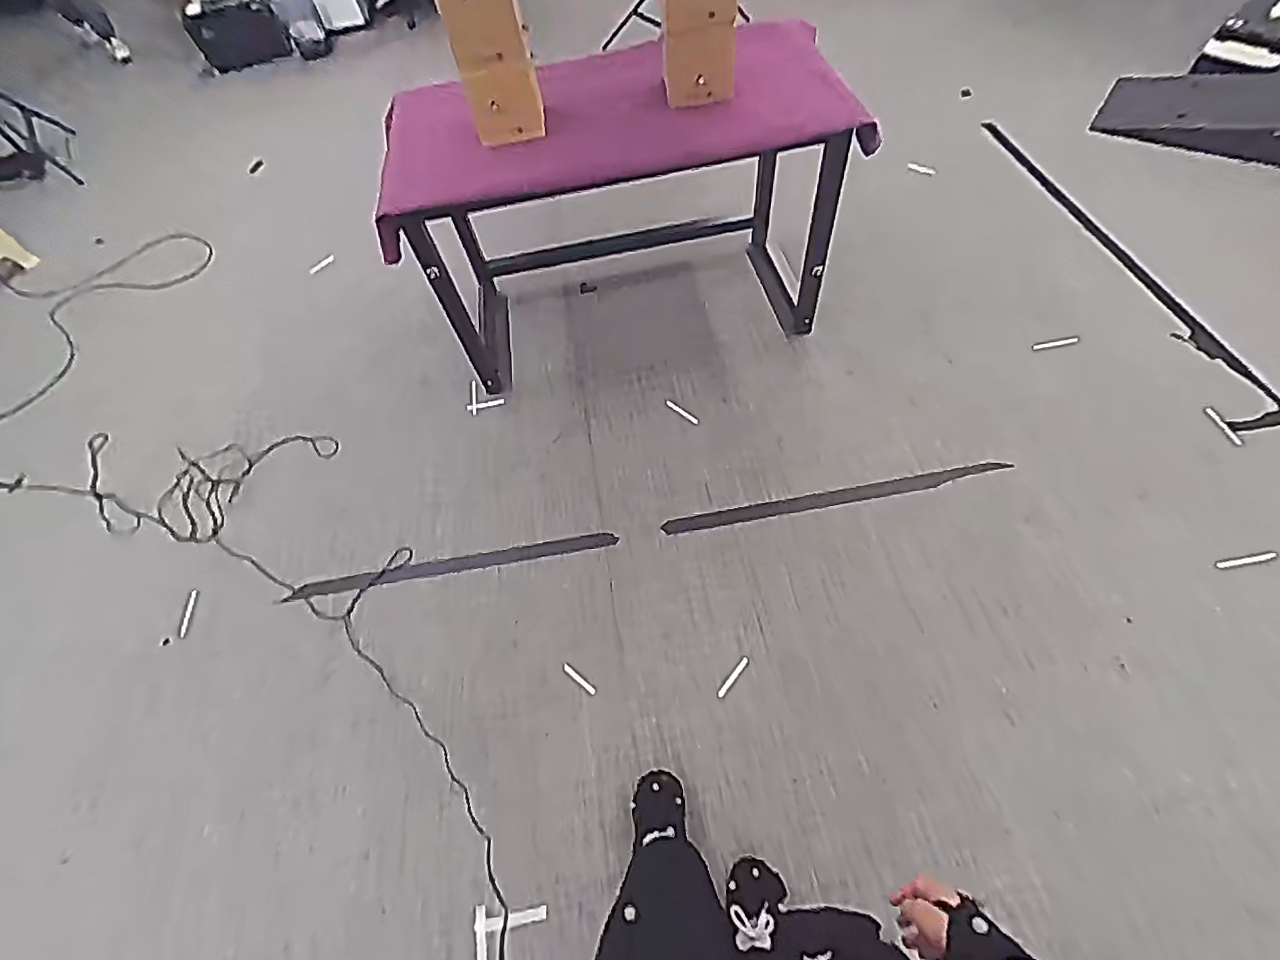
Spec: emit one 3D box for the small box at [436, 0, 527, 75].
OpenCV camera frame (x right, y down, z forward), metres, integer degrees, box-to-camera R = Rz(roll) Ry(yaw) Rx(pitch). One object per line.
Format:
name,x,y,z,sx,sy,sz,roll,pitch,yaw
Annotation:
small box,-0.367,-1.079,1.256,0.168,0.176,0.179,-11,57,1

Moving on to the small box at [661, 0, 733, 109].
small box,0.144,-1.096,1.395,0.168,0.176,0.179,-6,58,4

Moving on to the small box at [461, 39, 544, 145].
small box,-0.348,-0.989,1.392,0.168,0.176,0.179,-10,58,1
